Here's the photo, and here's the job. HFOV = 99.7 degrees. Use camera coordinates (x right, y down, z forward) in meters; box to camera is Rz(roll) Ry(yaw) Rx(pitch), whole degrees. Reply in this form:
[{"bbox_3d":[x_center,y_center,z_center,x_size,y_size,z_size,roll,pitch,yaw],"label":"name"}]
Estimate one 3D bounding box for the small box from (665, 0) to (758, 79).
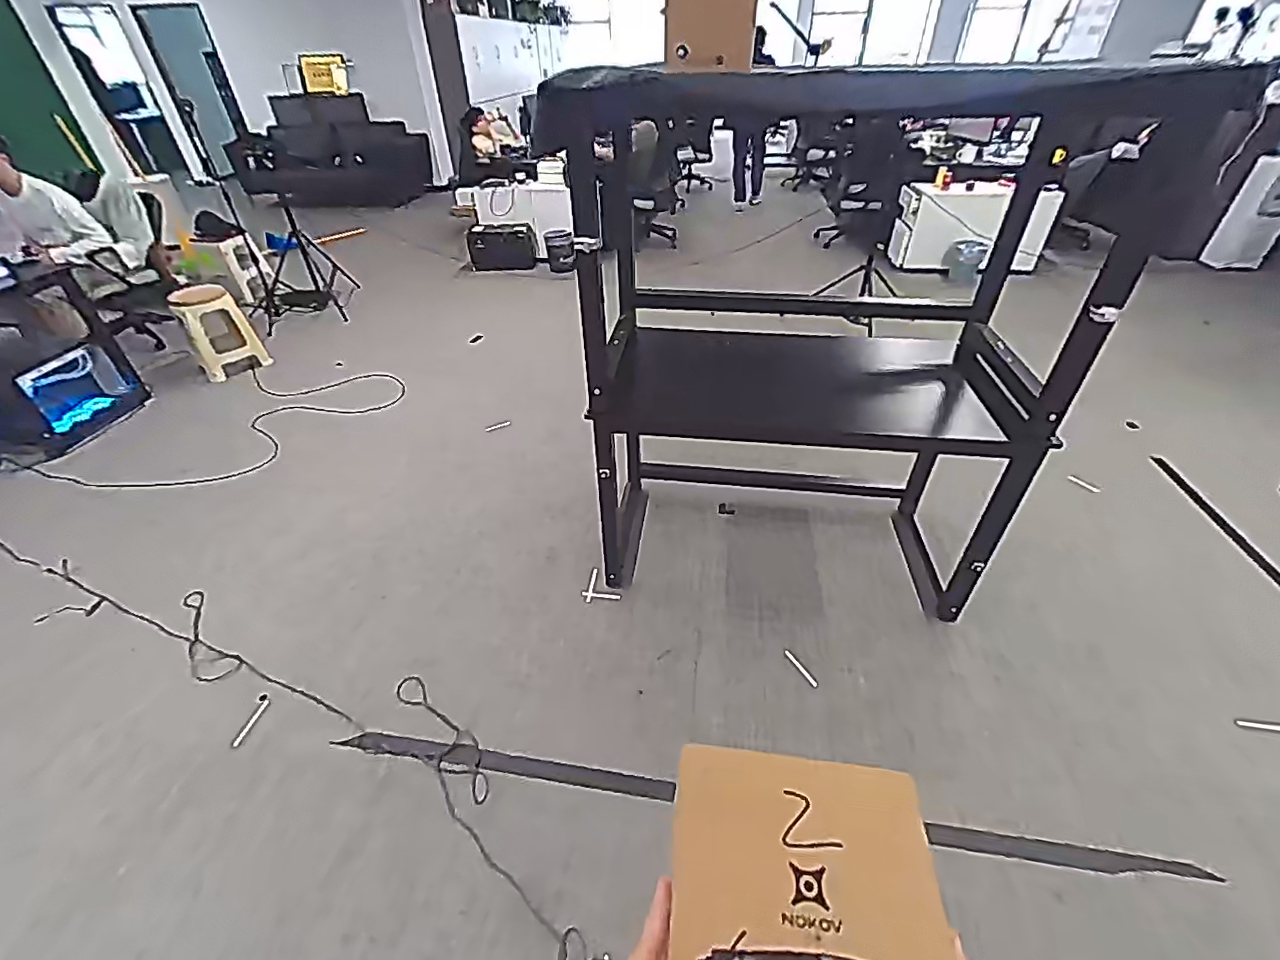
[{"bbox_3d":[0.136,-0.875,1.032,0.168,0.176,0.179,4,37,4],"label":"small box"}]
